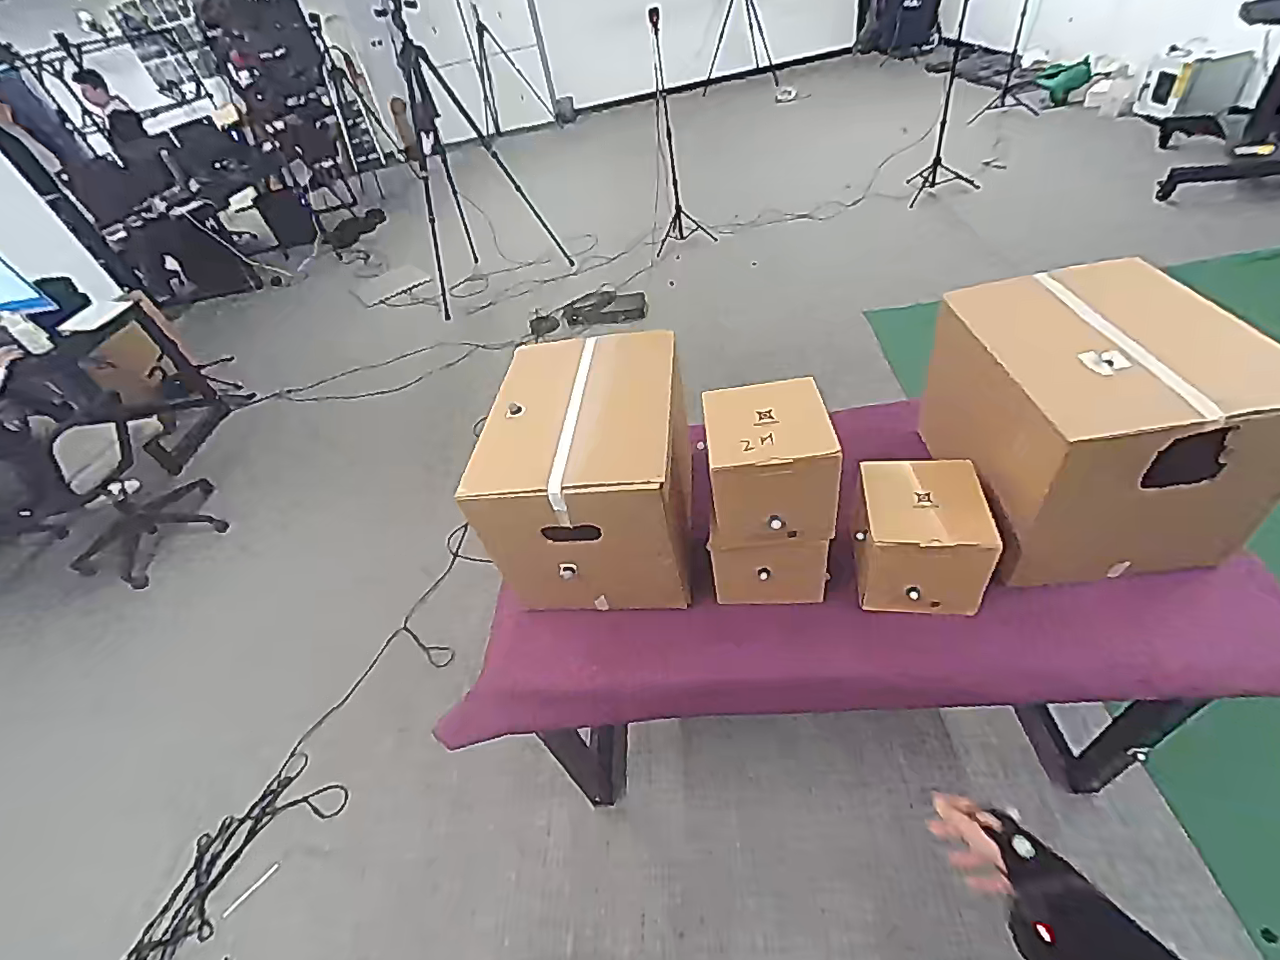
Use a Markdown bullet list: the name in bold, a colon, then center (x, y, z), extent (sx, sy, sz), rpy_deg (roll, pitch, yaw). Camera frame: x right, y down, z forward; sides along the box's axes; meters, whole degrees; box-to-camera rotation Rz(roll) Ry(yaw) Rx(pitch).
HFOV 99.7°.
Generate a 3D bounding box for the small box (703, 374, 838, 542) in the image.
- **small box**: center (0.185, -0.031, 0.800), extent (0.168, 0.176, 0.179), rpy_deg (-7, 43, 9)

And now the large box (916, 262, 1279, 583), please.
- **large box**: center (0.698, -0.097, 0.875), extent (0.320, 0.320, 0.408), rpy_deg (-9, 44, 9)
